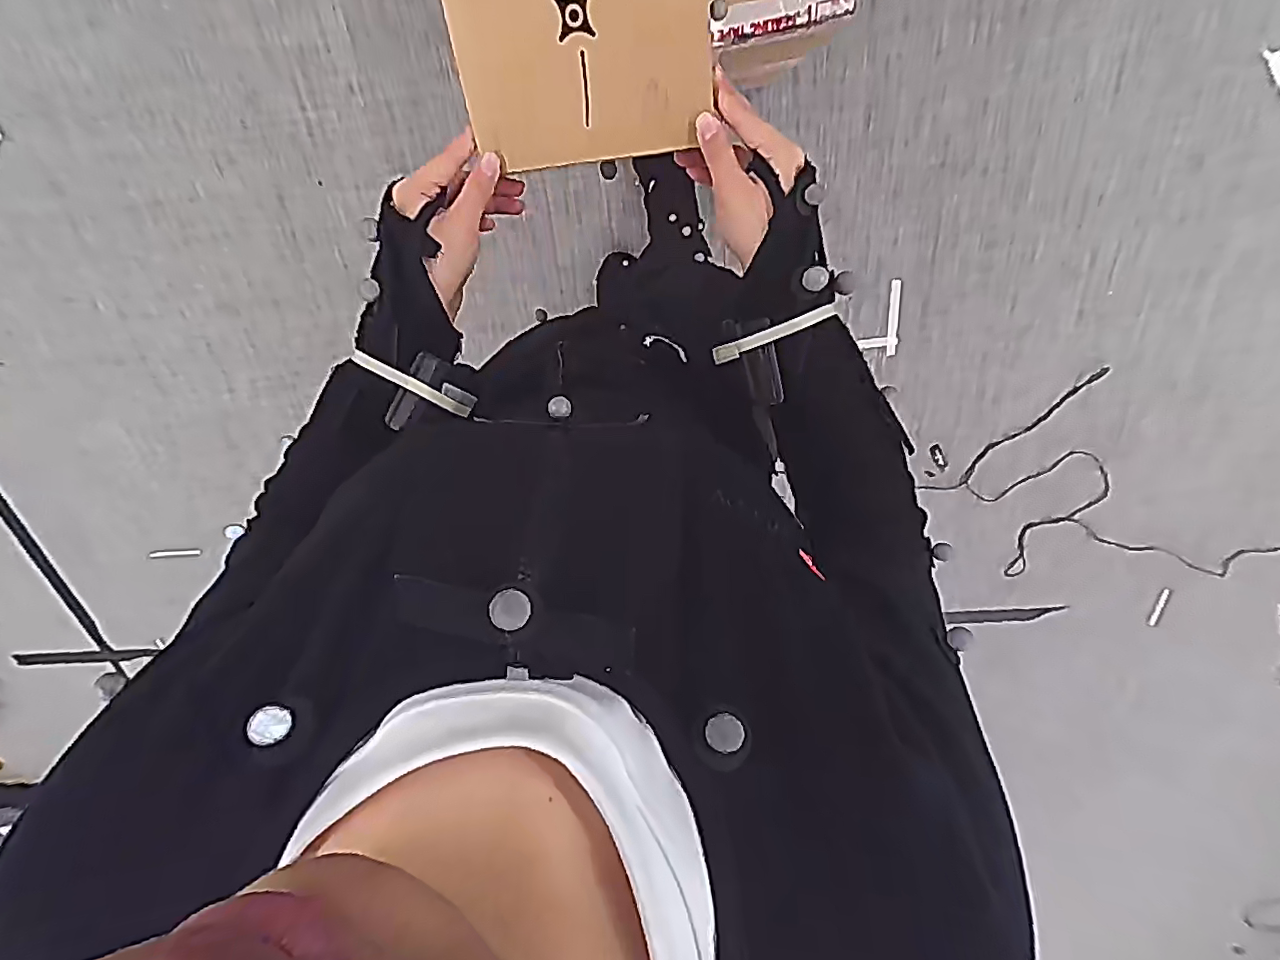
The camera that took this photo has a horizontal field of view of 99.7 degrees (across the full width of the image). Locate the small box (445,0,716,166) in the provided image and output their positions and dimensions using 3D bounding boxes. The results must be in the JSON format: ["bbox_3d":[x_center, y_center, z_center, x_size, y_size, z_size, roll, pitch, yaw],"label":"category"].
[{"bbox_3d":[-0.034,-0.340,0.393,0.168,0.176,0.179,-4,123,7],"label":"small box"}]
